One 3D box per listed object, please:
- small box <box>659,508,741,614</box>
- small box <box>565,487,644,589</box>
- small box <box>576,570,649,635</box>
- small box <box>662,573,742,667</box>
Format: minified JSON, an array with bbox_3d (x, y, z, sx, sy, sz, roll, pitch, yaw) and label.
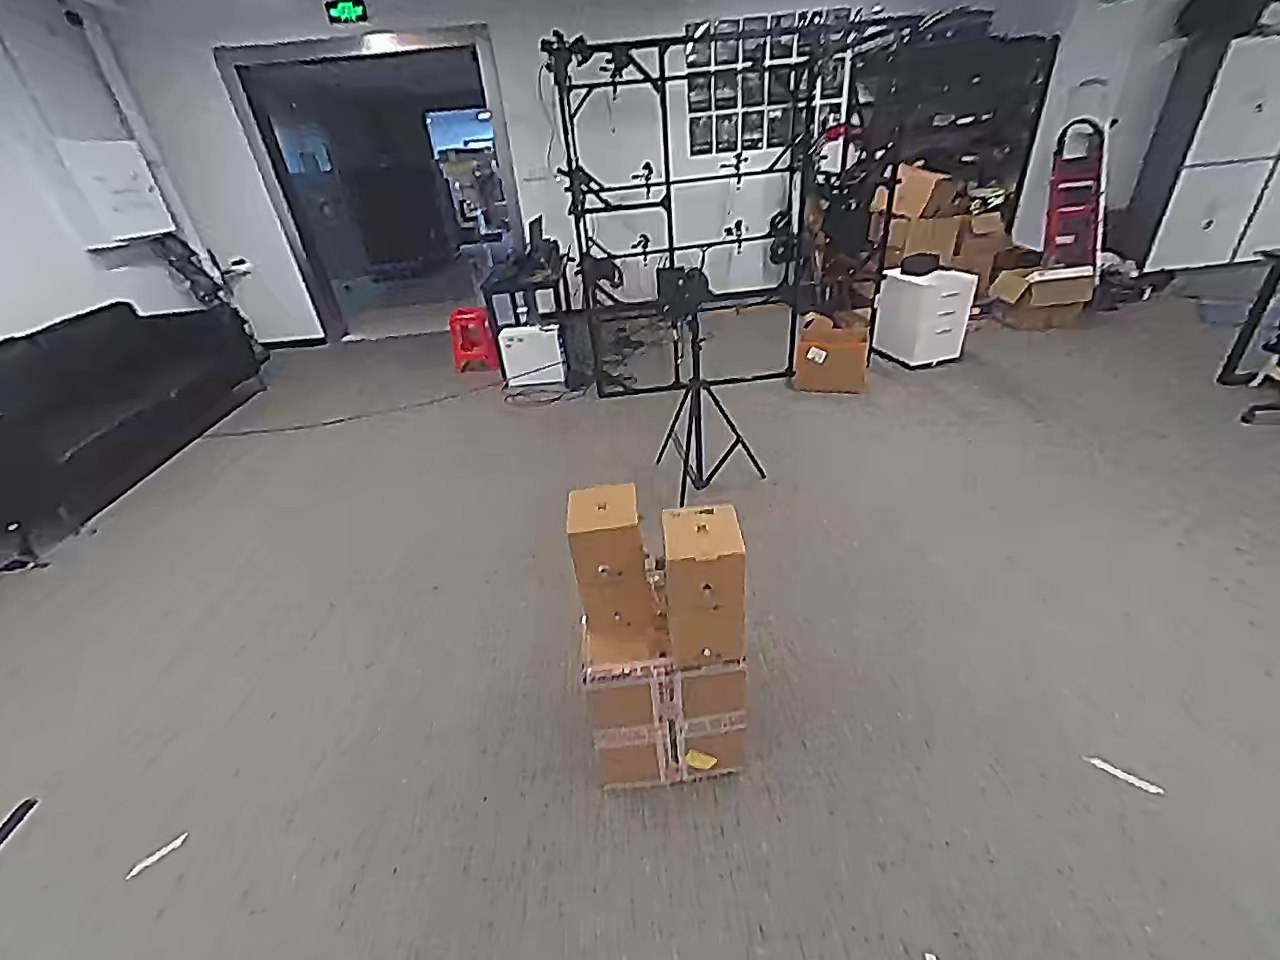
[{"bbox_3d":[0.133,0.186,1.214,0.168,0.176,0.179,-4,34,1],"label":"small box"},{"bbox_3d":[-0.084,0.139,1.320,0.168,0.176,0.179,-8,33,0],"label":"small box"},{"bbox_3d":[-0.070,0.275,1.409,0.168,0.176,0.179,-8,33,0],"label":"small box"},{"bbox_3d":[0.144,0.322,1.303,0.168,0.176,0.179,-6,34,-2],"label":"small box"}]
